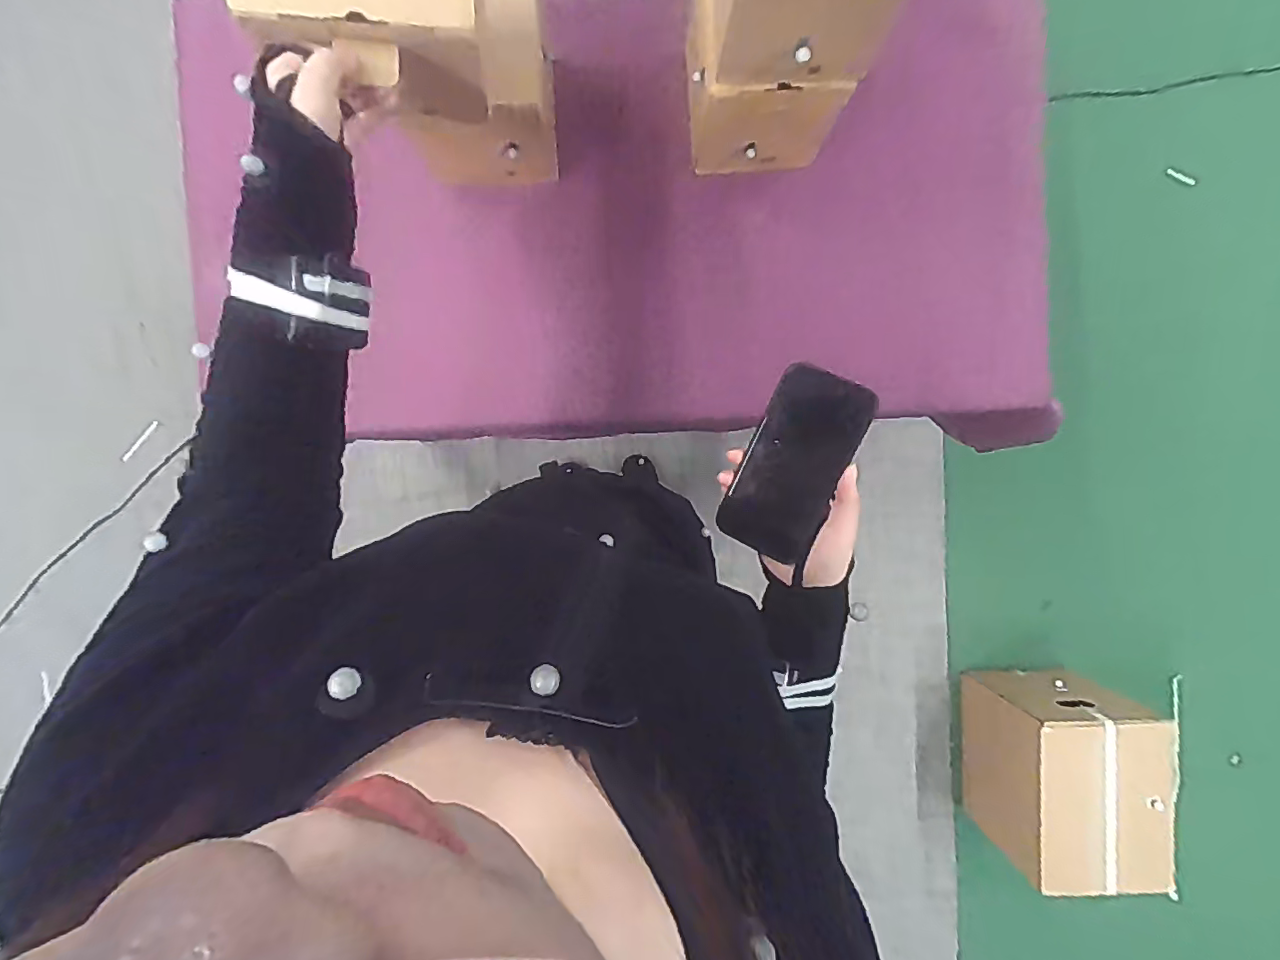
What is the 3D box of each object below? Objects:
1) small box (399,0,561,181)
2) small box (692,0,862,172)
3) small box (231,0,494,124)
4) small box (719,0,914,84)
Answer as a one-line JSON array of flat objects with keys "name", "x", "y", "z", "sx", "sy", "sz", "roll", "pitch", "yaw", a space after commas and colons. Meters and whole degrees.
[{"name": "small box", "x": -0.190, "y": -0.496, "z": 0.673, "sx": 0.168, "sy": 0.176, "sz": 0.179, "roll": -2, "pitch": 92, "yaw": -2}, {"name": "small box", "x": 0.159, "y": -0.520, "z": 0.676, "sx": 0.168, "sy": 0.176, "sz": 0.179, "roll": -4, "pitch": 93, "yaw": 0}, {"name": "small box", "x": -0.212, "y": -0.417, "z": 0.439, "sx": 0.168, "sy": 0.176, "sz": 0.179, "roll": -2, "pitch": 105, "yaw": -11}, {"name": "small box", "x": 0.167, "y": -0.520, "z": 0.511, "sx": 0.168, "sy": 0.176, "sz": 0.179, "roll": -2, "pitch": 93, "yaw": 0}]
